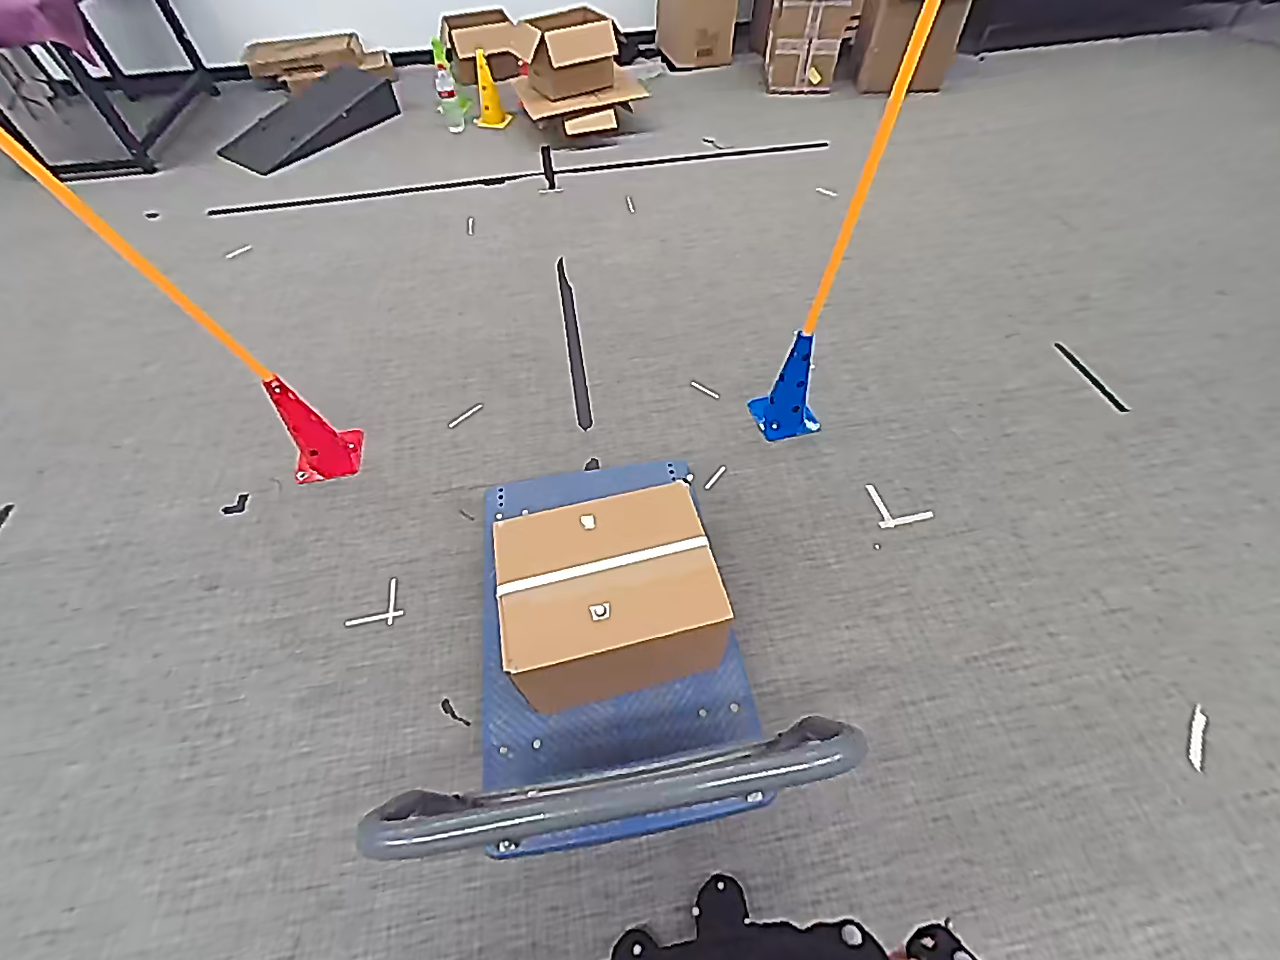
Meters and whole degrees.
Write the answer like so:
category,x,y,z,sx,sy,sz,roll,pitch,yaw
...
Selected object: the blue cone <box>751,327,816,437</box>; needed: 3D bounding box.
category,x,y,z,sx,sy,sz,roll,pitch,yaw
blue cone,0.498,-0.325,1.750,0.193,0.380,0.192,-12,54,-8
